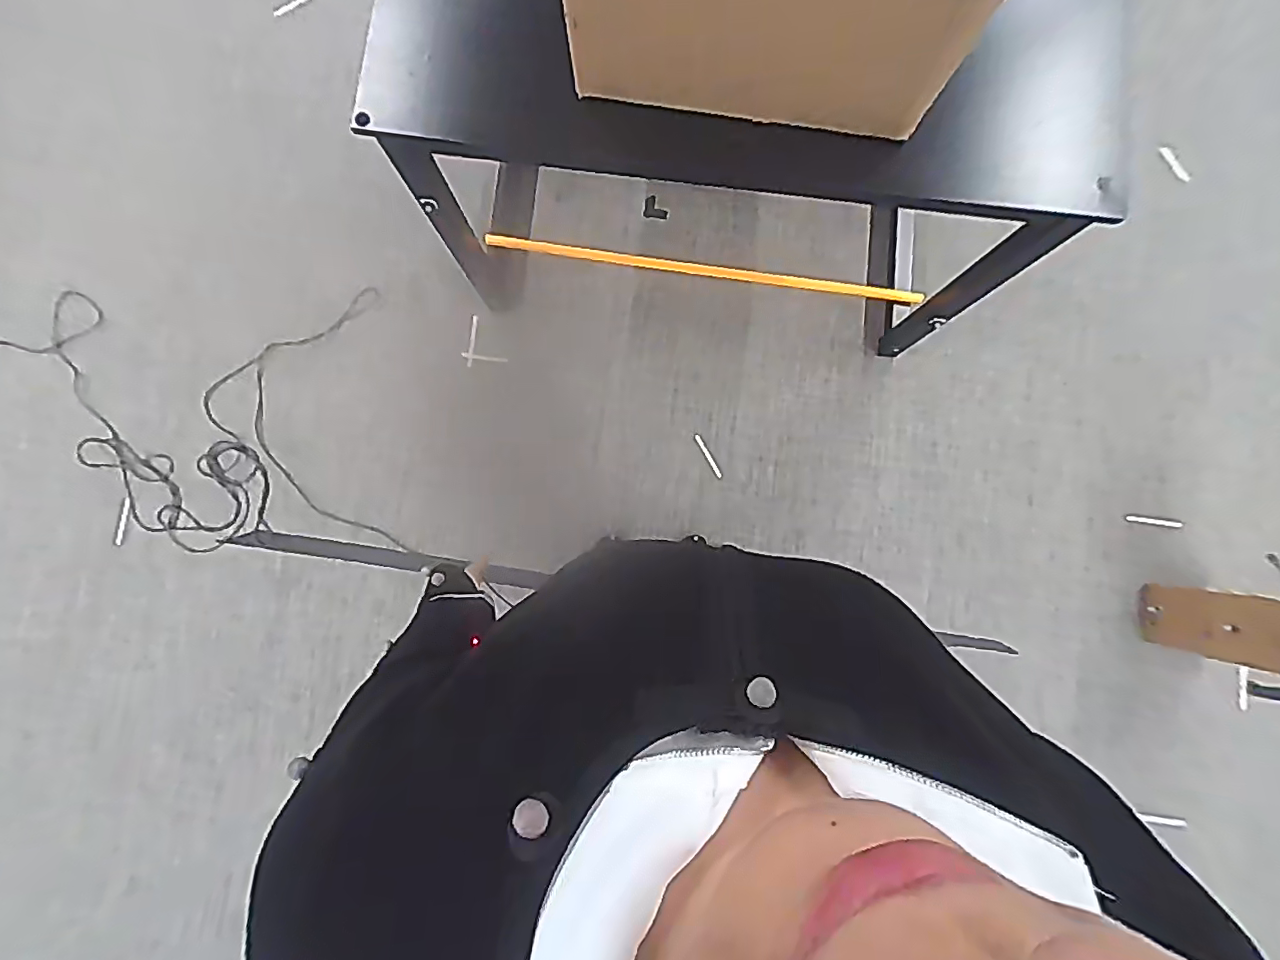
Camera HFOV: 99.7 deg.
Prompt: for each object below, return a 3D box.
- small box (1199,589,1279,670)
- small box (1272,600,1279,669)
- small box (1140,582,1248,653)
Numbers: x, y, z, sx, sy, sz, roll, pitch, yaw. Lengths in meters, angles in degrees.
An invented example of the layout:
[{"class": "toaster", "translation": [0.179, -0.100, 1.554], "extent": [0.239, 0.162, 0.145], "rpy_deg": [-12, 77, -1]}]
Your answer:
[{"class": "small box", "translation": [1.466, 0.350, 1.260], "extent": [0.179, 0.176, 0.168], "rpy_deg": [6, 84, 0]}, {"class": "small box", "translation": [1.467, 0.332, 1.095], "extent": [0.179, 0.176, 0.168], "rpy_deg": [1, 83, -1]}, {"class": "small box", "translation": [1.481, 0.363, 1.424], "extent": [0.179, 0.176, 0.168], "rpy_deg": [5, 84, 1]}]
